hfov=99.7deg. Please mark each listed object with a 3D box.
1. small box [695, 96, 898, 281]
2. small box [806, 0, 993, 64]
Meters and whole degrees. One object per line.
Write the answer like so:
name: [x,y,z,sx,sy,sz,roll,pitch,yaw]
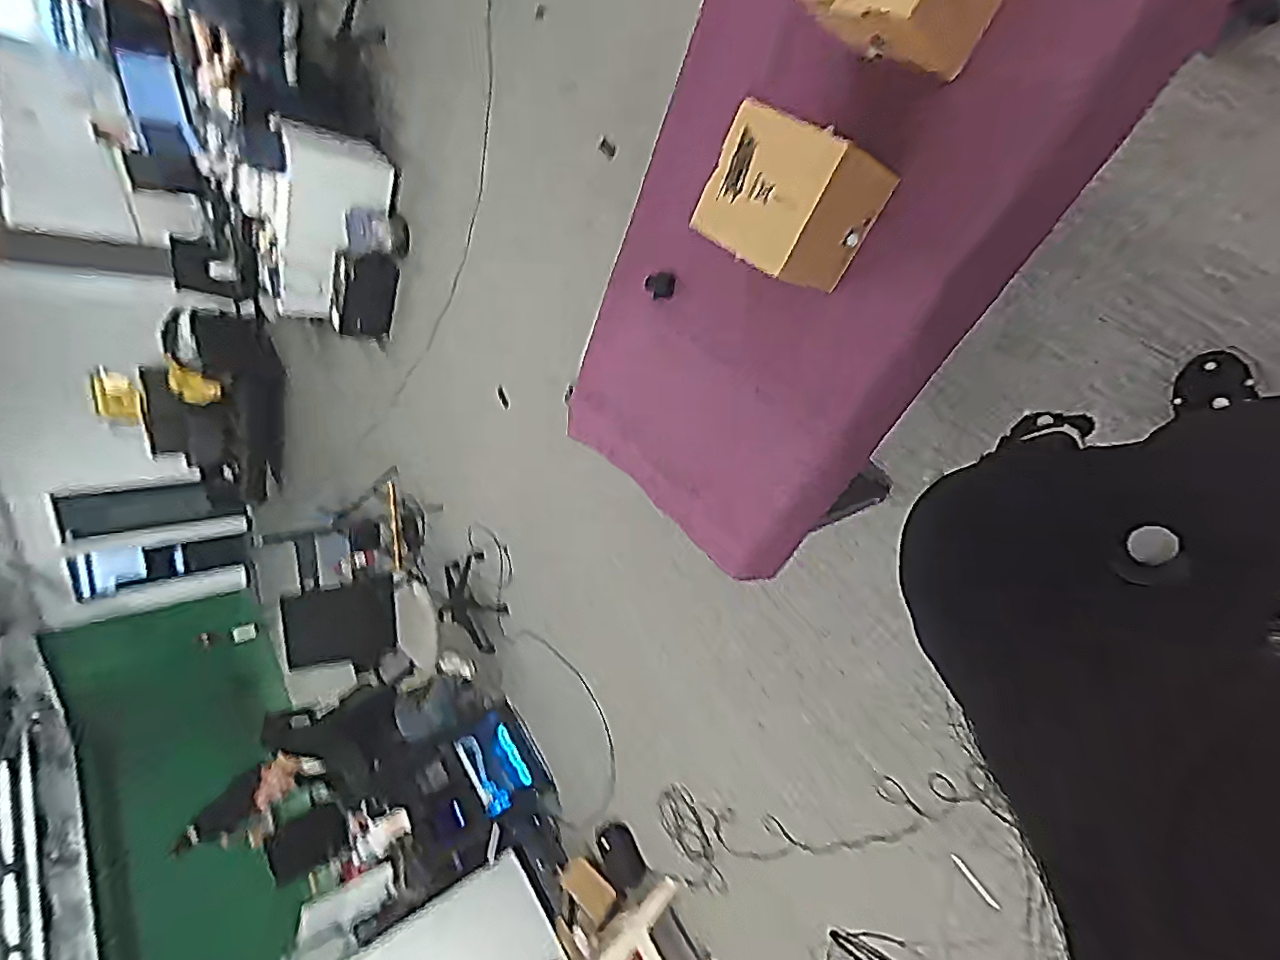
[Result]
small box: [0.217,-0.396,0.759,0.179,0.176,0.168,46,128,29]
small box: [0.320,-0.613,0.612,0.168,0.176,0.179,46,128,30]
